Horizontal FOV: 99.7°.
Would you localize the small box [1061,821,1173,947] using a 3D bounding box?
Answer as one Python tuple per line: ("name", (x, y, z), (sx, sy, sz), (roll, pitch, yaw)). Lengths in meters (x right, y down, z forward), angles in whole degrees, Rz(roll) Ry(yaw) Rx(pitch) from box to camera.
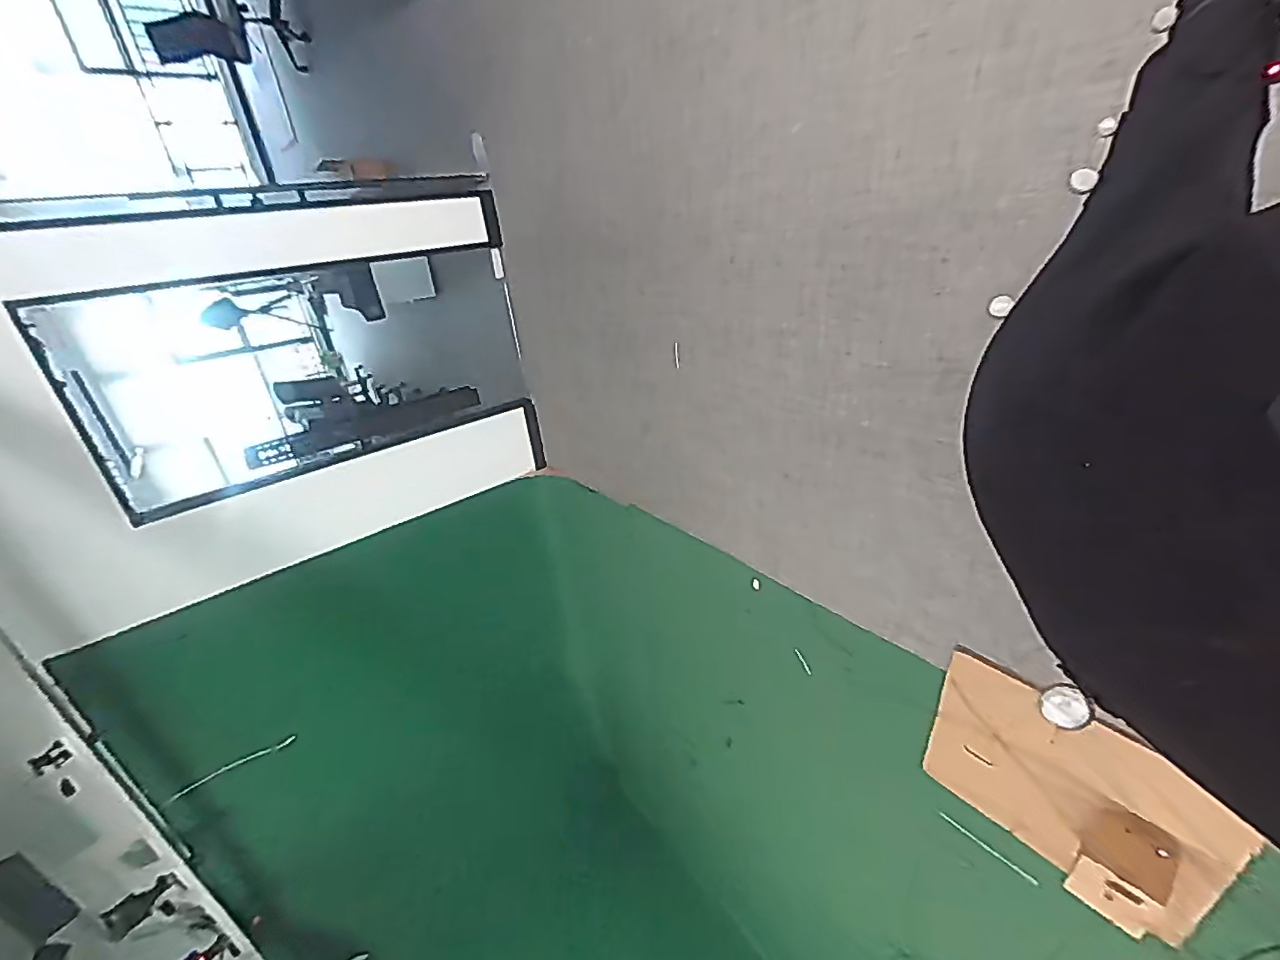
("small box", (1.255, 1.052, 1.422), (0.168, 0.176, 0.179), (28, 132, 44))
